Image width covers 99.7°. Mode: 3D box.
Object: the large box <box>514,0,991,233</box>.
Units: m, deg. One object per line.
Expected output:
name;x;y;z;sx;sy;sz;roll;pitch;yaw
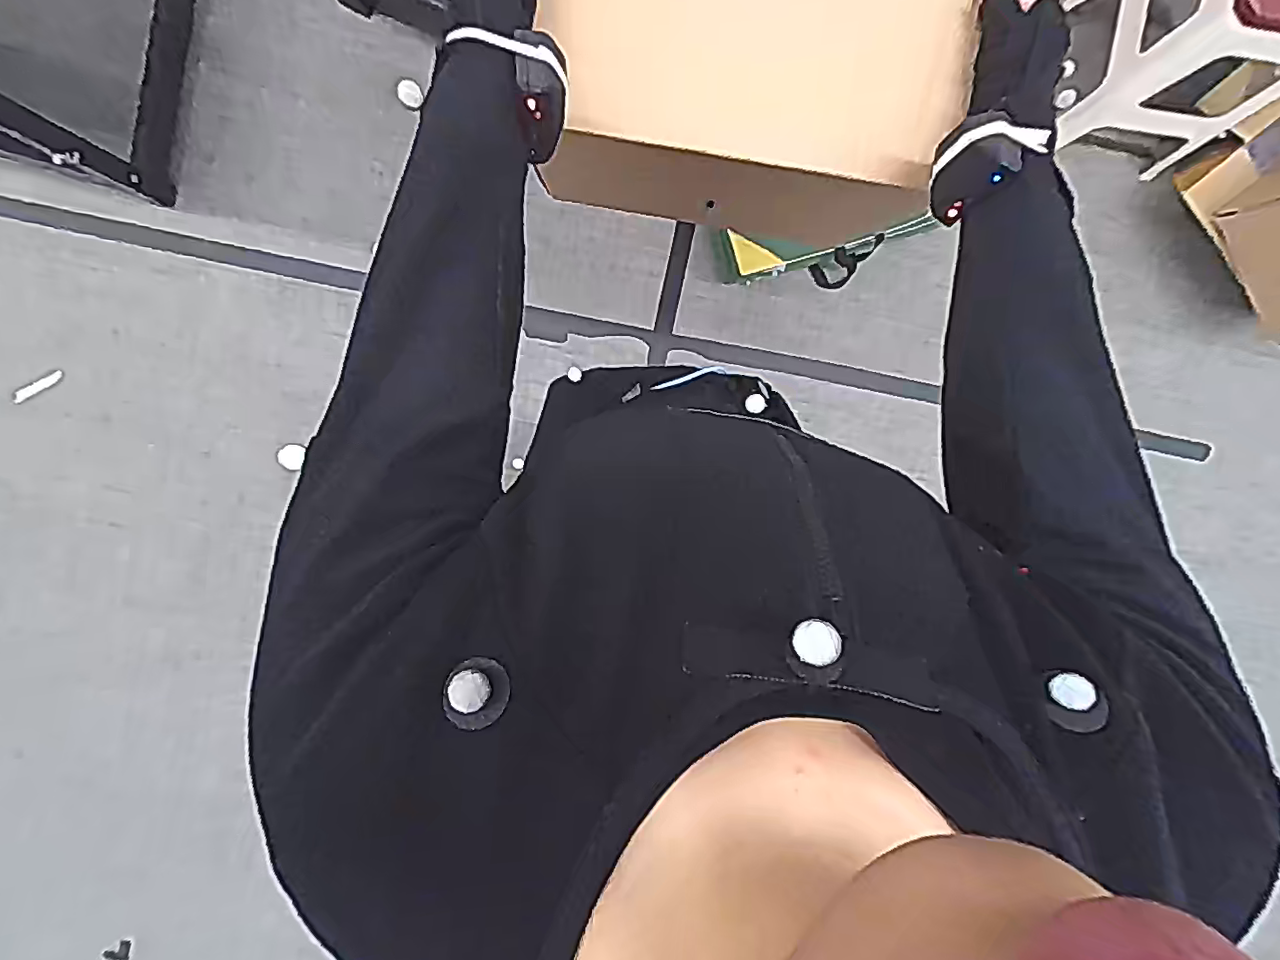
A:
large box;0.101;-0.478;0.587;0.408;0.320;0.320;7;105;-4
